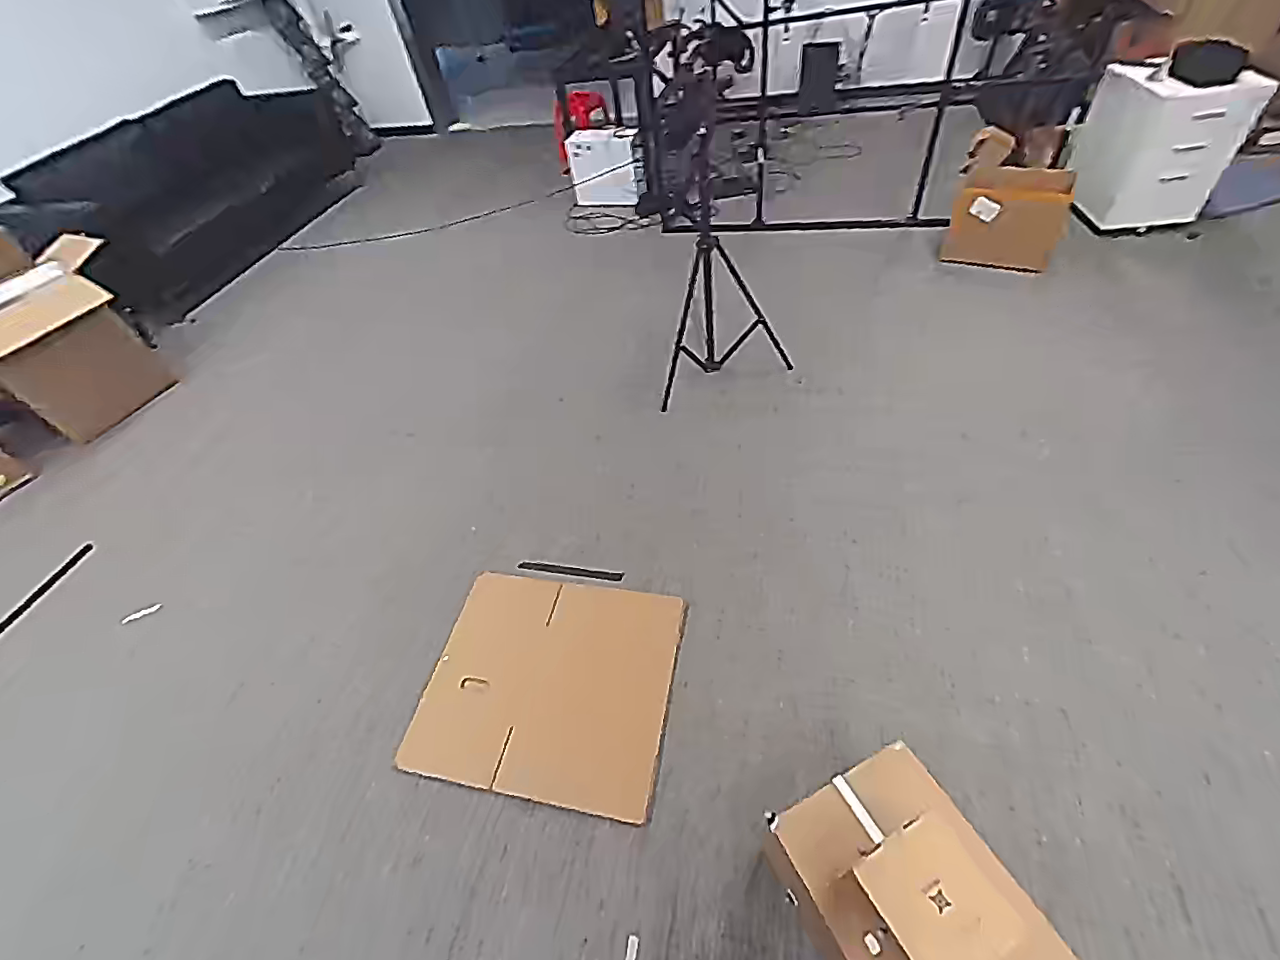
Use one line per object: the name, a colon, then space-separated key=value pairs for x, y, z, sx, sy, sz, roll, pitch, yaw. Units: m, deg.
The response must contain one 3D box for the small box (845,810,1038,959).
small box: x=0.439 y=0.649 z=0.824 sx=0.168 sy=0.176 sz=0.179 roll=-27 pitch=50 yaw=-12
